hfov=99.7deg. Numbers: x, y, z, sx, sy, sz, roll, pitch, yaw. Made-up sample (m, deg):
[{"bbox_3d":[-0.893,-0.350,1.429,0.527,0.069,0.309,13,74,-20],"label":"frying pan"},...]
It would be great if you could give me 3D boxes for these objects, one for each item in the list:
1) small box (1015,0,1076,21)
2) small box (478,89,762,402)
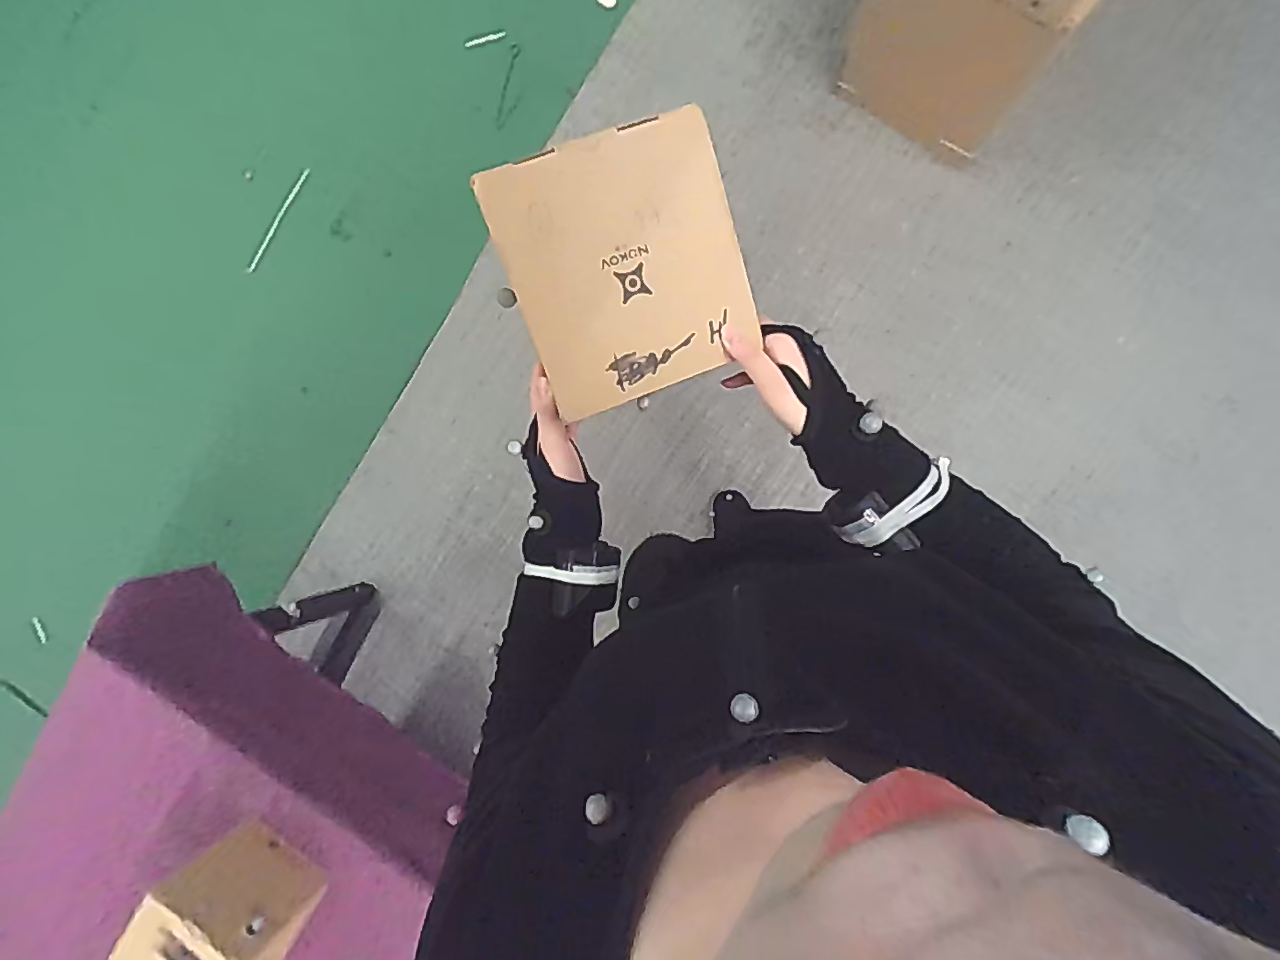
[{"bbox_3d":[0.716,-0.923,0.880,0.168,0.176,0.179,40,94,7],"label":"small box"},{"bbox_3d":[-0.022,-0.179,0.460,0.168,0.176,0.179,-21,107,-5],"label":"small box"}]
